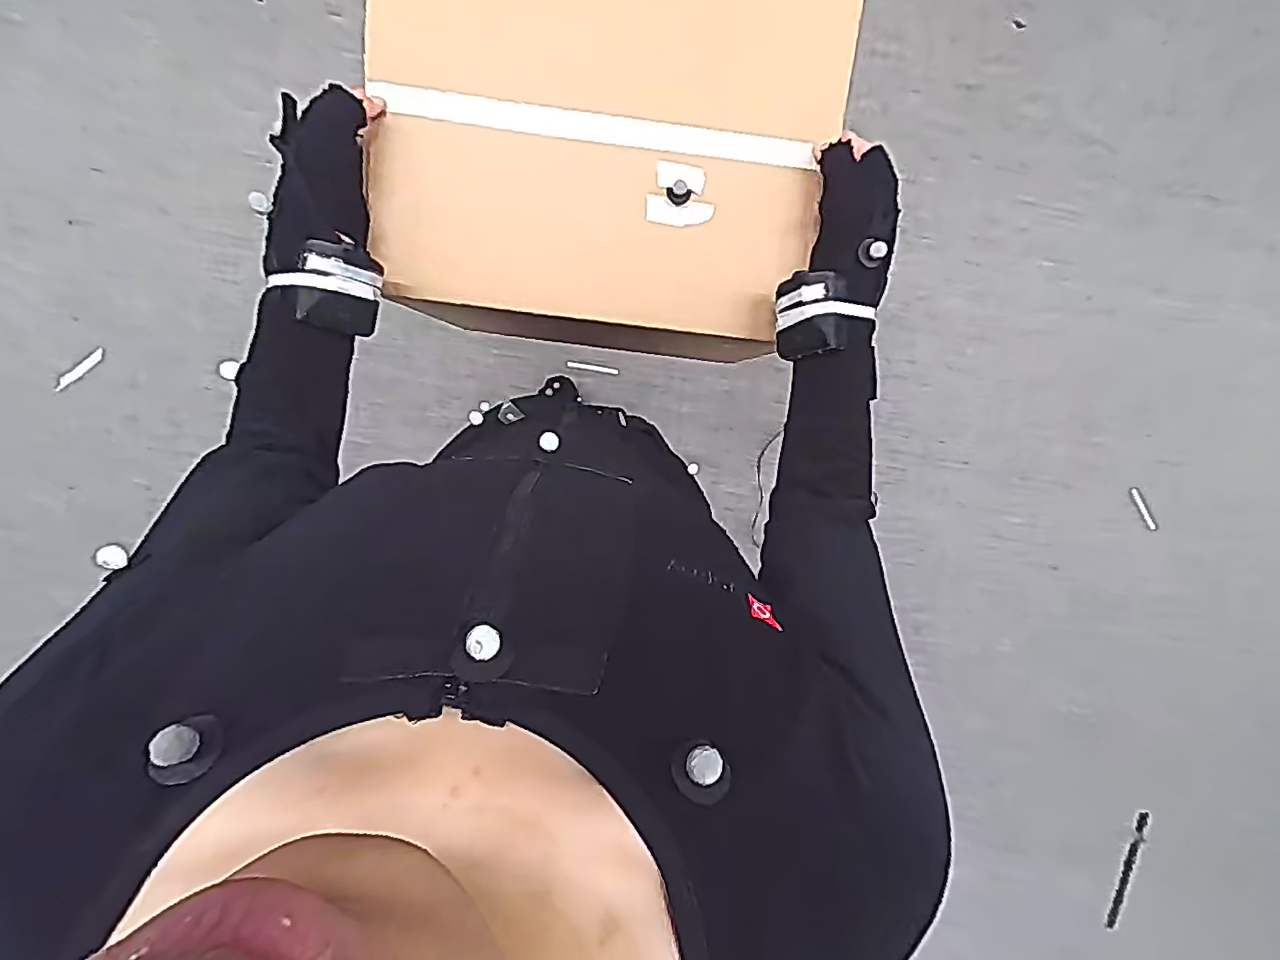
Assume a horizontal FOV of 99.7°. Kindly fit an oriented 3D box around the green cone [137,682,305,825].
[{"bbox_3d":[-1.072,0.707,1.352,0.202,0.368,0.200,-29,96,3],"label":"green cone"}]

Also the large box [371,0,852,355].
[{"bbox_3d":[-0.036,-0.328,0.615,0.408,0.320,0.320,6,99,-4],"label":"large box"}]
